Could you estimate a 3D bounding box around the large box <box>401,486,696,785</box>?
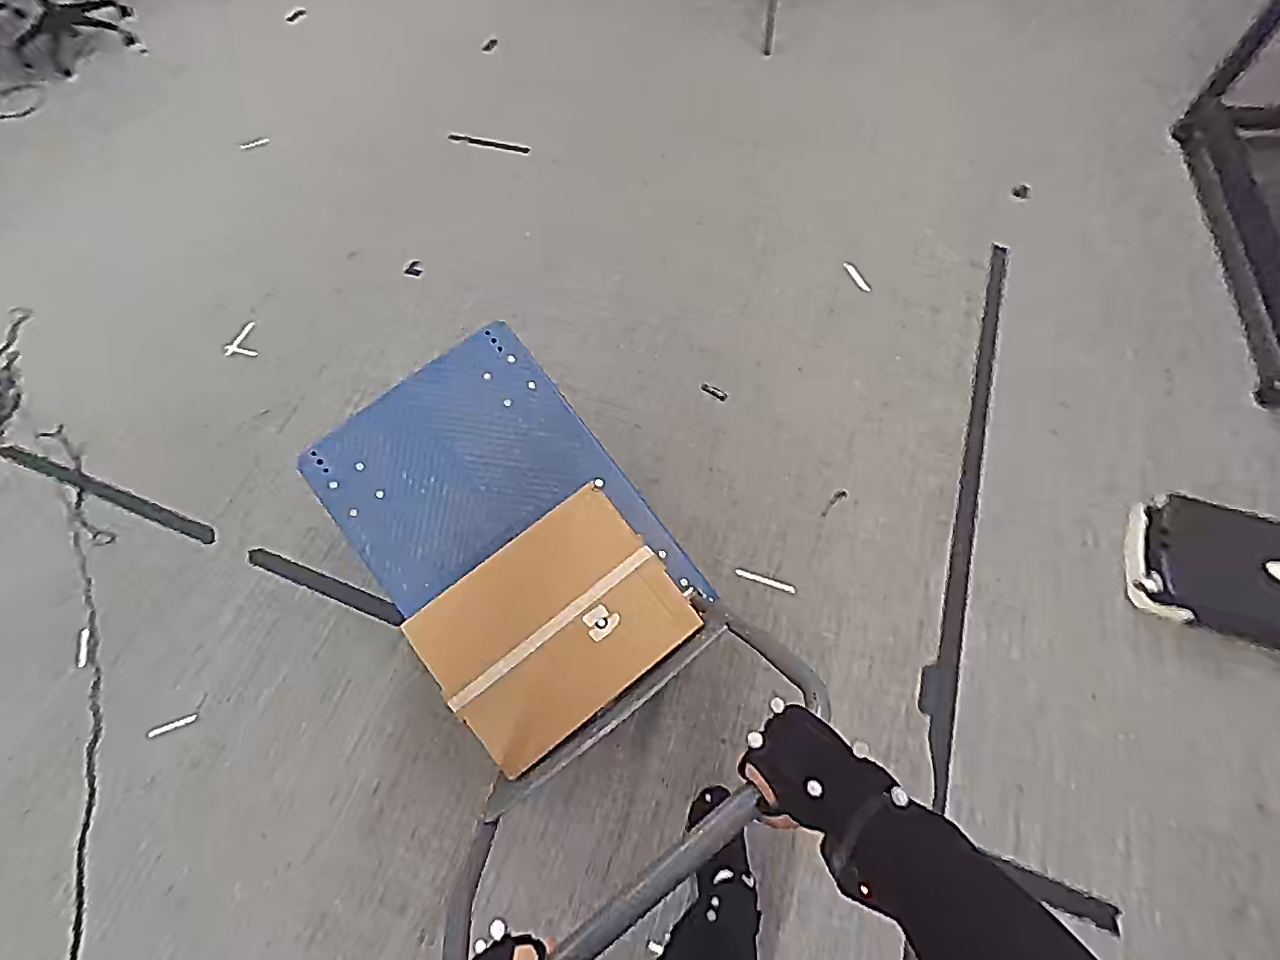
[{"bbox_3d":[-0.157,0.273,1.043,0.408,0.320,0.320,-38,85,-8],"label":"large box"}]
